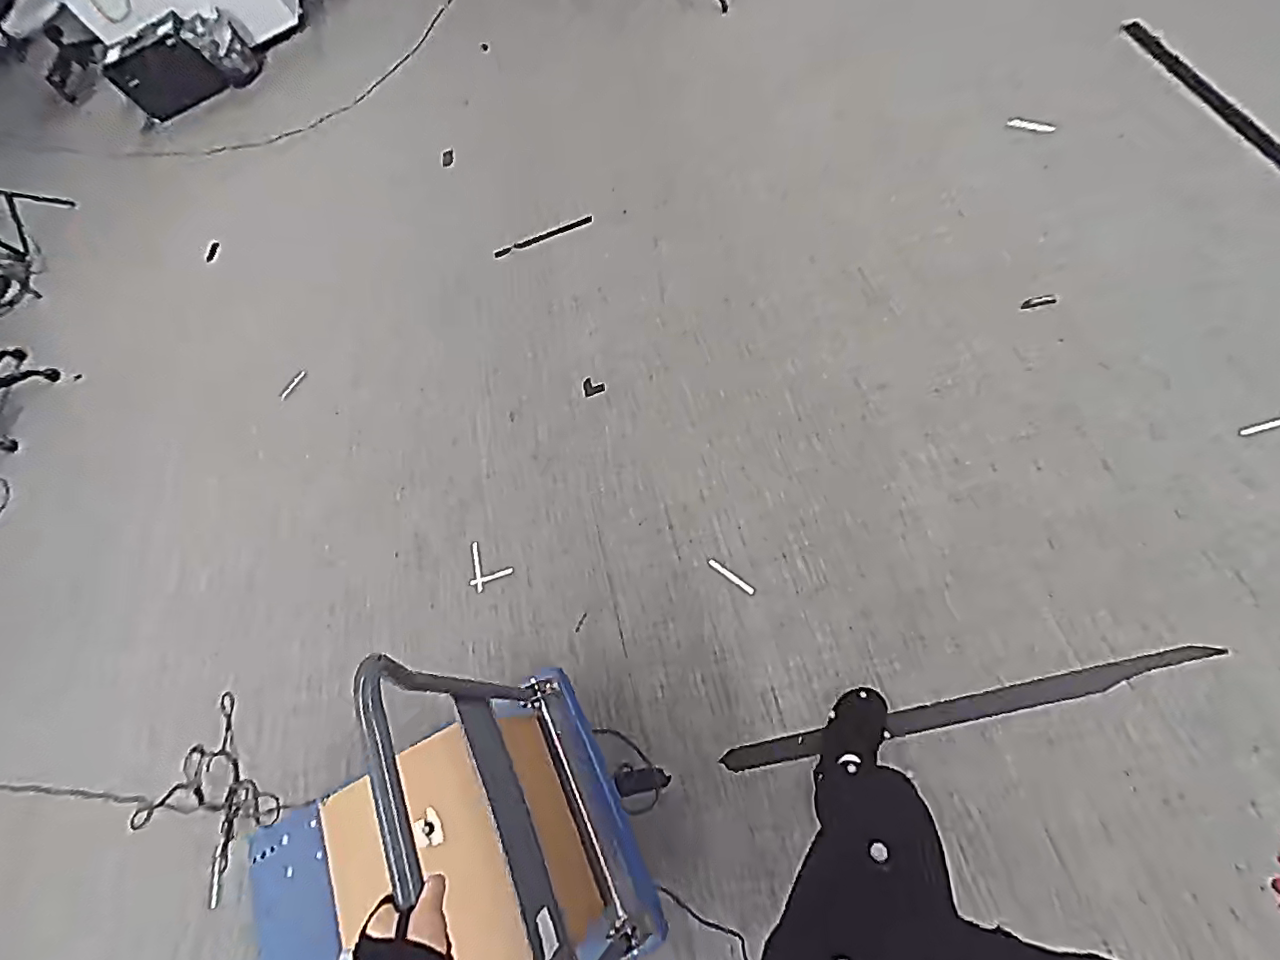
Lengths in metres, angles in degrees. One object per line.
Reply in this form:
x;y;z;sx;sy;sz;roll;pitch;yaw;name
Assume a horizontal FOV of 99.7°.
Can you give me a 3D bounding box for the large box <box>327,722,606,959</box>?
-0.317;0.726;1.026;0.320;0.320;0.408;-30;62;1;large box
